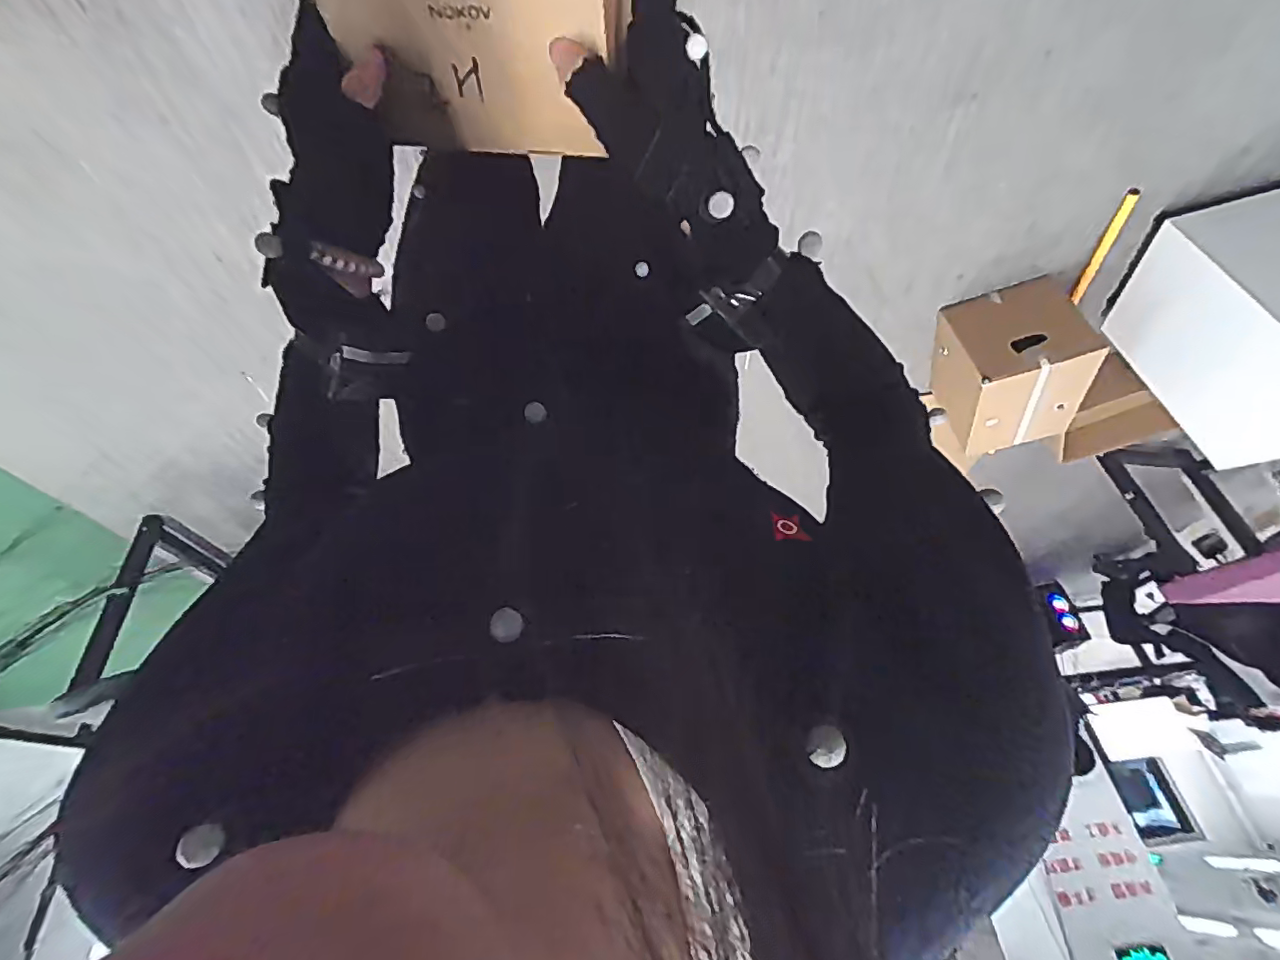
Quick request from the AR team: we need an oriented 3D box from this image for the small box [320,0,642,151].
[{"bbox_3d":[-0.089,-0.337,0.326,0.168,0.176,0.179,6,152,4],"label":"small box"}]
